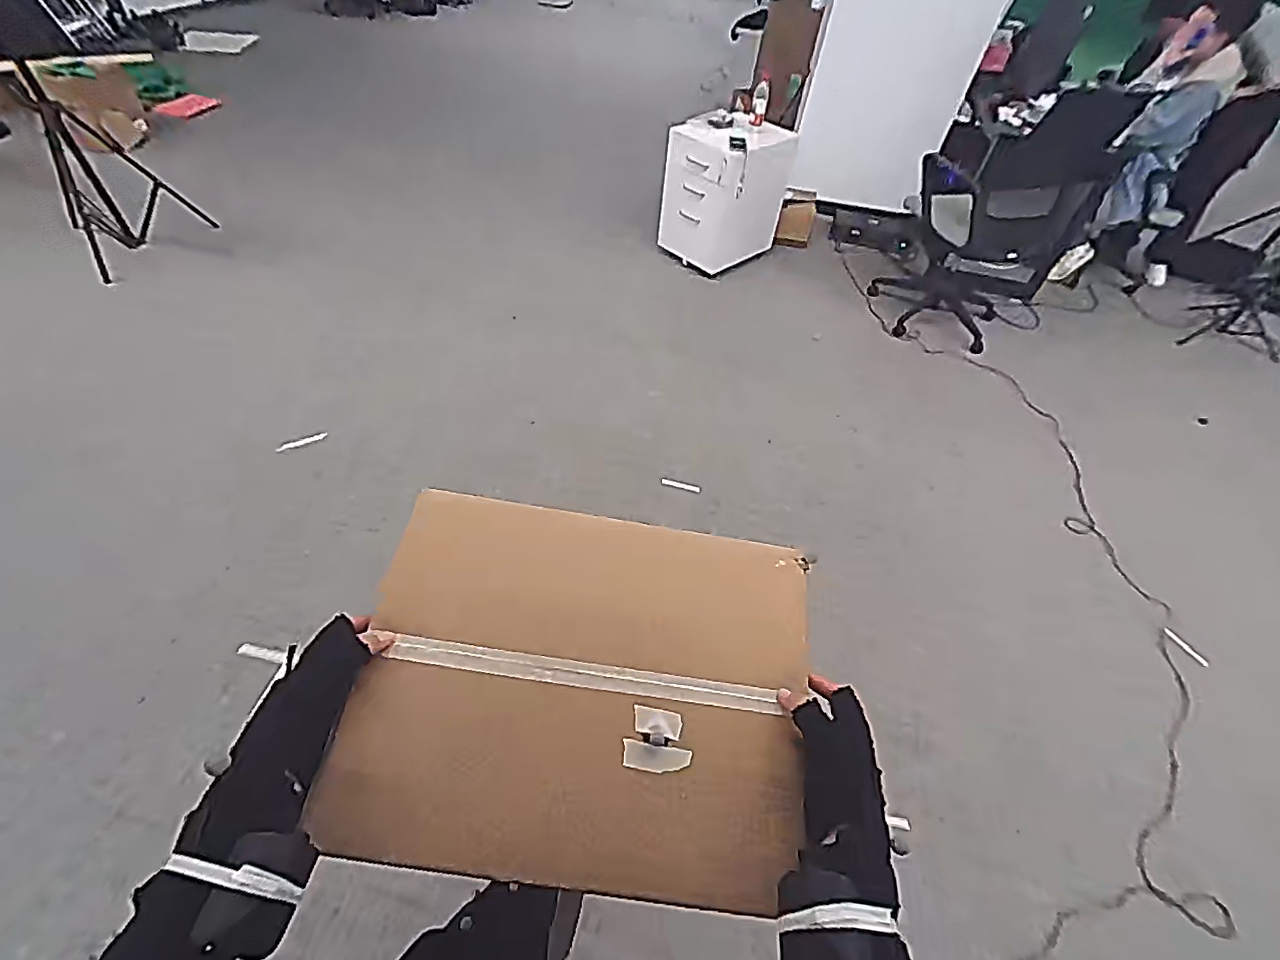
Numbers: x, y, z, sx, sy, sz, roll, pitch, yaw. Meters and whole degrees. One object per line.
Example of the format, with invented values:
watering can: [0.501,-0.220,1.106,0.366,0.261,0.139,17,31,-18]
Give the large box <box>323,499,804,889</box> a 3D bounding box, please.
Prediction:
large box: [-0.062,0.250,0.640,0.408,0.320,0.320,9,62,-3]
